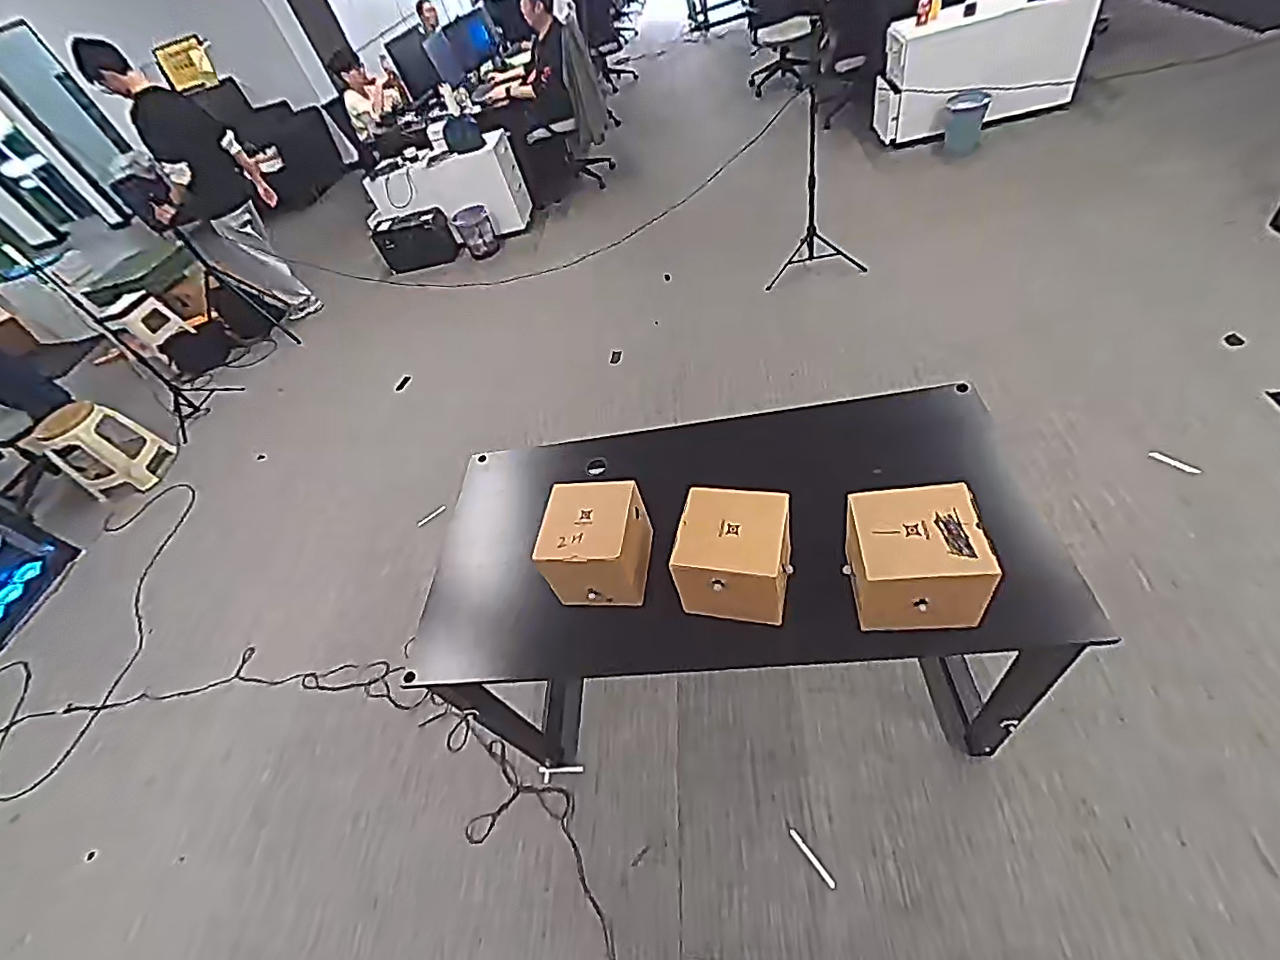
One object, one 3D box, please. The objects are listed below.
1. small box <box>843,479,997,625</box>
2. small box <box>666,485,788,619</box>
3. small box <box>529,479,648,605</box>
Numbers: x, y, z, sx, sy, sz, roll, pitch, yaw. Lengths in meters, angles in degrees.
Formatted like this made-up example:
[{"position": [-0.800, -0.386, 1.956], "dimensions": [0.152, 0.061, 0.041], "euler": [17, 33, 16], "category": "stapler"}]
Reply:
[{"position": [0.430, 0.120, 0.866], "dimensions": [0.179, 0.176, 0.168], "euler": [-7, 48, 14], "category": "small box"}, {"position": [0.162, 0.128, 0.948], "dimensions": [0.179, 0.176, 0.168], "euler": [3, 51, 21], "category": "small box"}, {"position": [-0.087, 0.119, 1.034], "dimensions": [0.168, 0.176, 0.179], "euler": [-4, 50, 16], "category": "small box"}]
